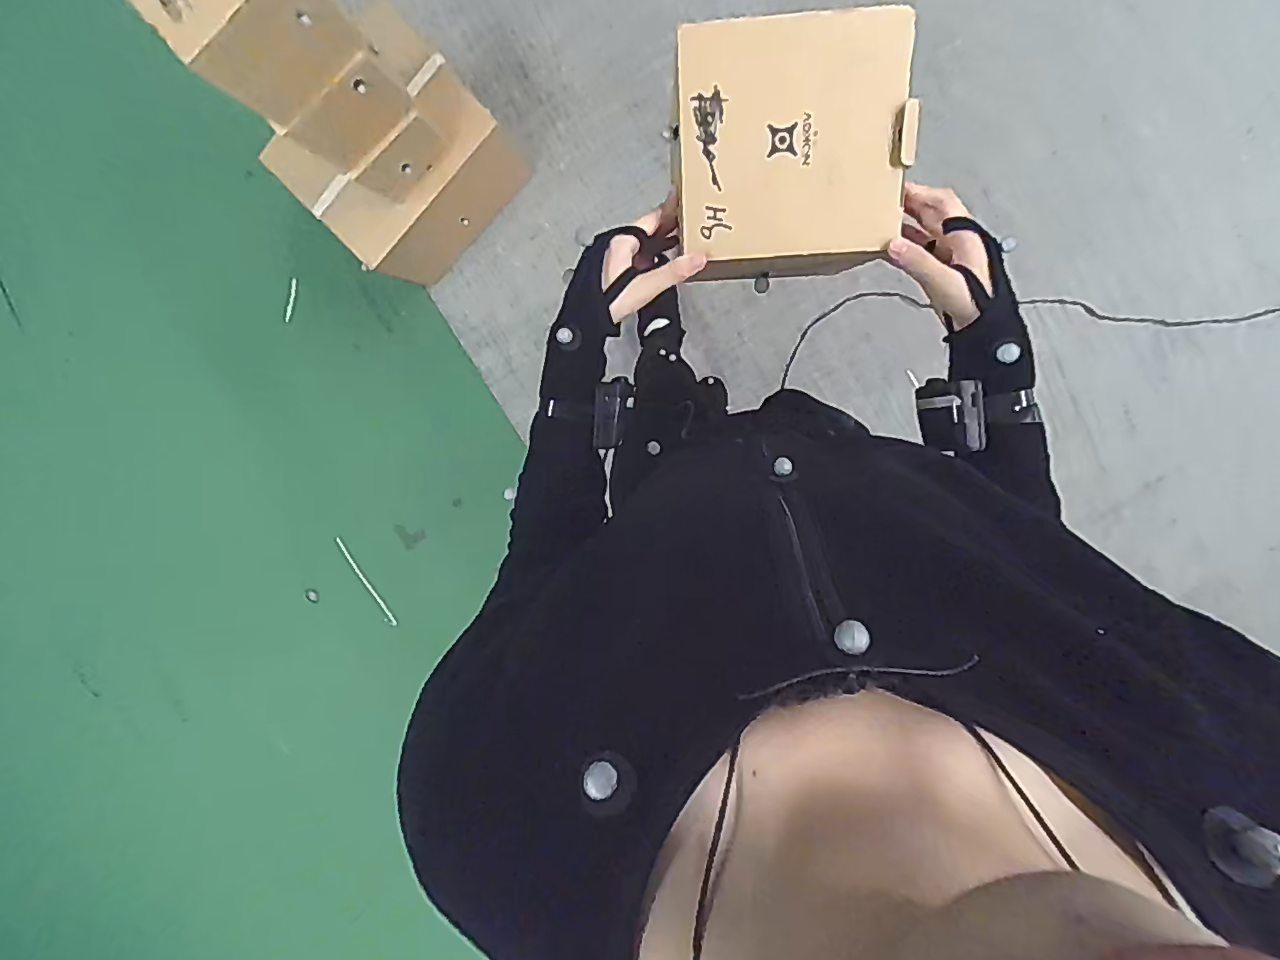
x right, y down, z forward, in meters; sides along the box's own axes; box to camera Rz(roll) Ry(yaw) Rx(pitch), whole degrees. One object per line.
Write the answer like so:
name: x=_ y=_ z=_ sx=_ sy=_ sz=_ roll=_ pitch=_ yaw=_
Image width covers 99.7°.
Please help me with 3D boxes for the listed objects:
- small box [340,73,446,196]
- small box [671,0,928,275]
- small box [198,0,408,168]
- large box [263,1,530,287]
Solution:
small box: x=-0.491 y=-0.652 z=0.988 sx=0.168 sy=0.176 sz=0.179 roll=-38 pitch=99 yaw=9
small box: x=0.121 y=-0.281 z=0.482 sx=0.179 sy=0.176 sz=0.168 roll=-2 pitch=103 yaw=1
small box: x=-0.498 y=-0.625 z=0.829 sx=0.179 sy=0.176 sz=0.168 roll=-37 pitch=99 yaw=8
large box: x=-0.521 y=-0.710 z=1.229 sx=0.408 sy=0.320 sz=0.320 roll=-43 pitch=96 yaw=12
